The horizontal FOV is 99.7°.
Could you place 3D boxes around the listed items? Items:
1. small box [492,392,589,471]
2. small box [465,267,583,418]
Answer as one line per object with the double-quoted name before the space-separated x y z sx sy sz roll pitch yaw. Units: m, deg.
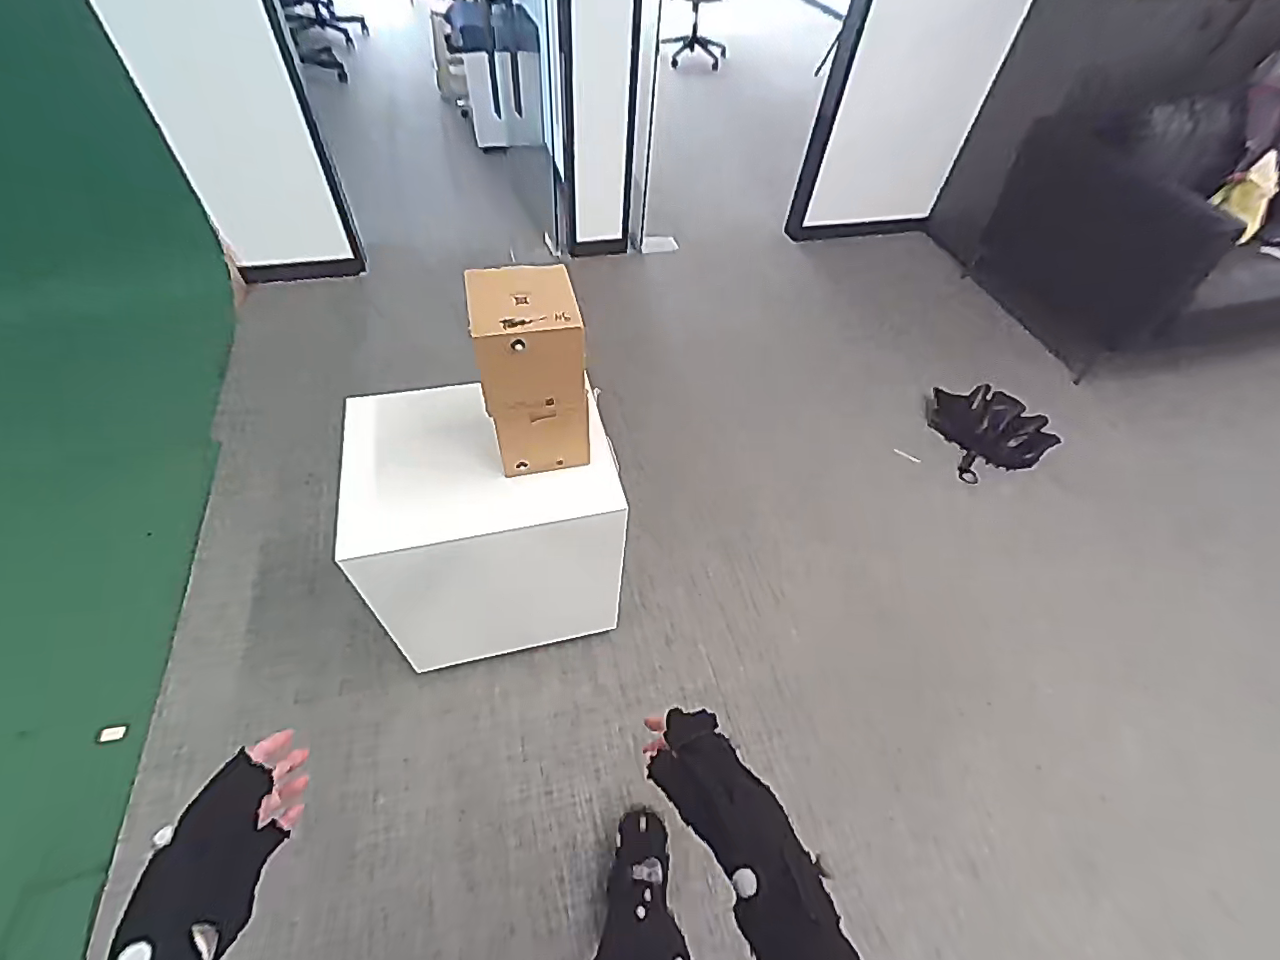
"small box" -0.195 -0.134 1.036 0.168 0.176 0.179 -11 53 -12
"small box" -0.191 -0.229 0.904 0.168 0.176 0.179 -10 53 -11
